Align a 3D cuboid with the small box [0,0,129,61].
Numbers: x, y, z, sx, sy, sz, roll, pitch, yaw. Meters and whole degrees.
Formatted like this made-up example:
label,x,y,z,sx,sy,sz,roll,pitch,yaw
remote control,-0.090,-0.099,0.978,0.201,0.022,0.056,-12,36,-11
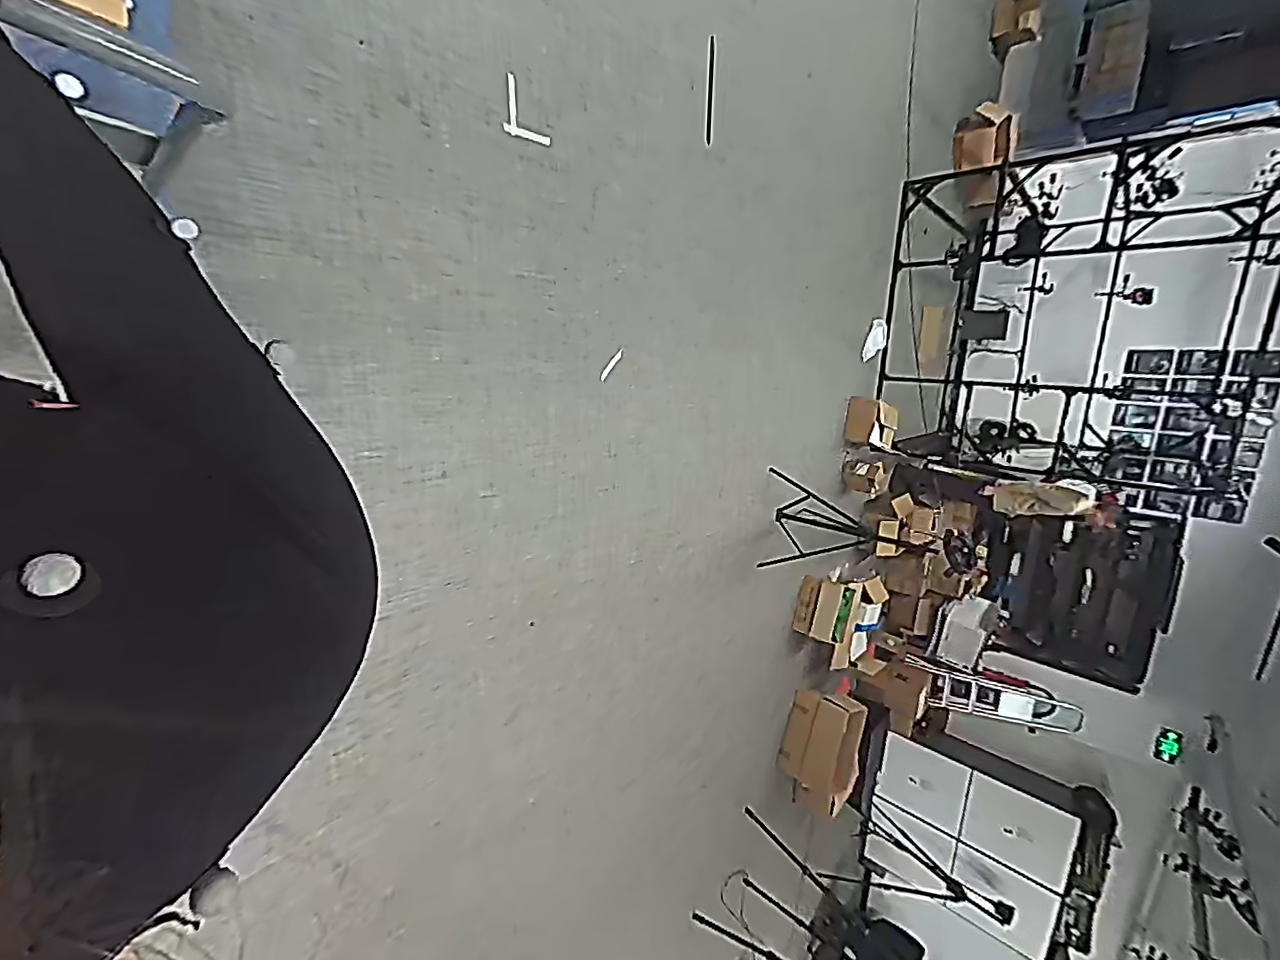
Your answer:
label,x,y,z,sx,sy,sz,roll,pitch,yaw
small box,-0.850,-0.737,0.759,0.179,0.176,0.168,-6,104,-48
